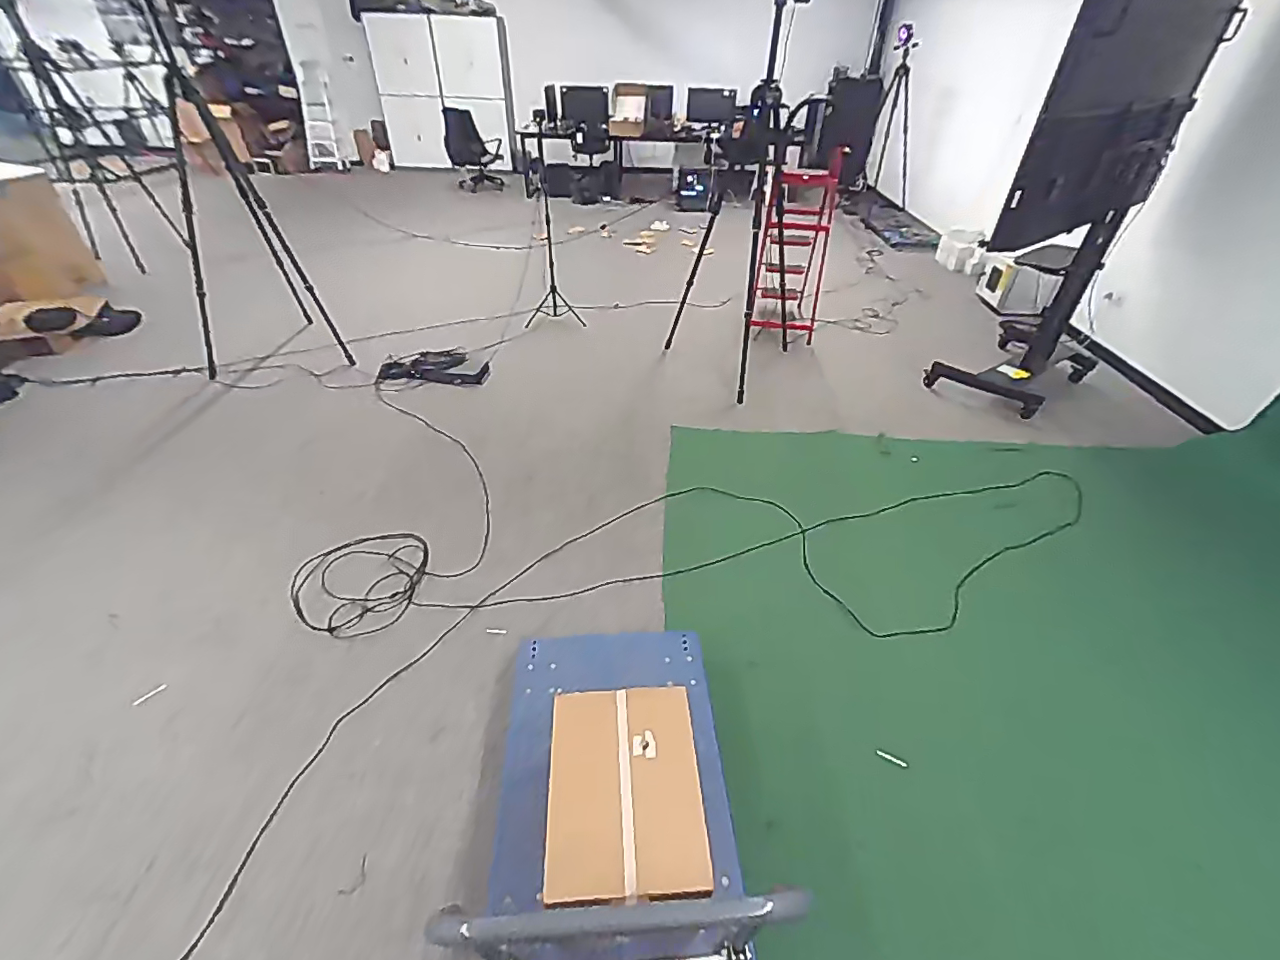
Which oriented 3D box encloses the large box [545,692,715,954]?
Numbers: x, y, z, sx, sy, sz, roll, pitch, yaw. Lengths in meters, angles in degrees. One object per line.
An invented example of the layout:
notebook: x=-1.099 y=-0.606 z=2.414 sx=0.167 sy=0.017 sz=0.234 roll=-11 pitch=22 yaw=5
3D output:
large box: x=-0.034 y=0.750 z=1.209 sx=0.320 sy=0.320 sz=0.408 roll=-1 pitch=37 yaw=-5
